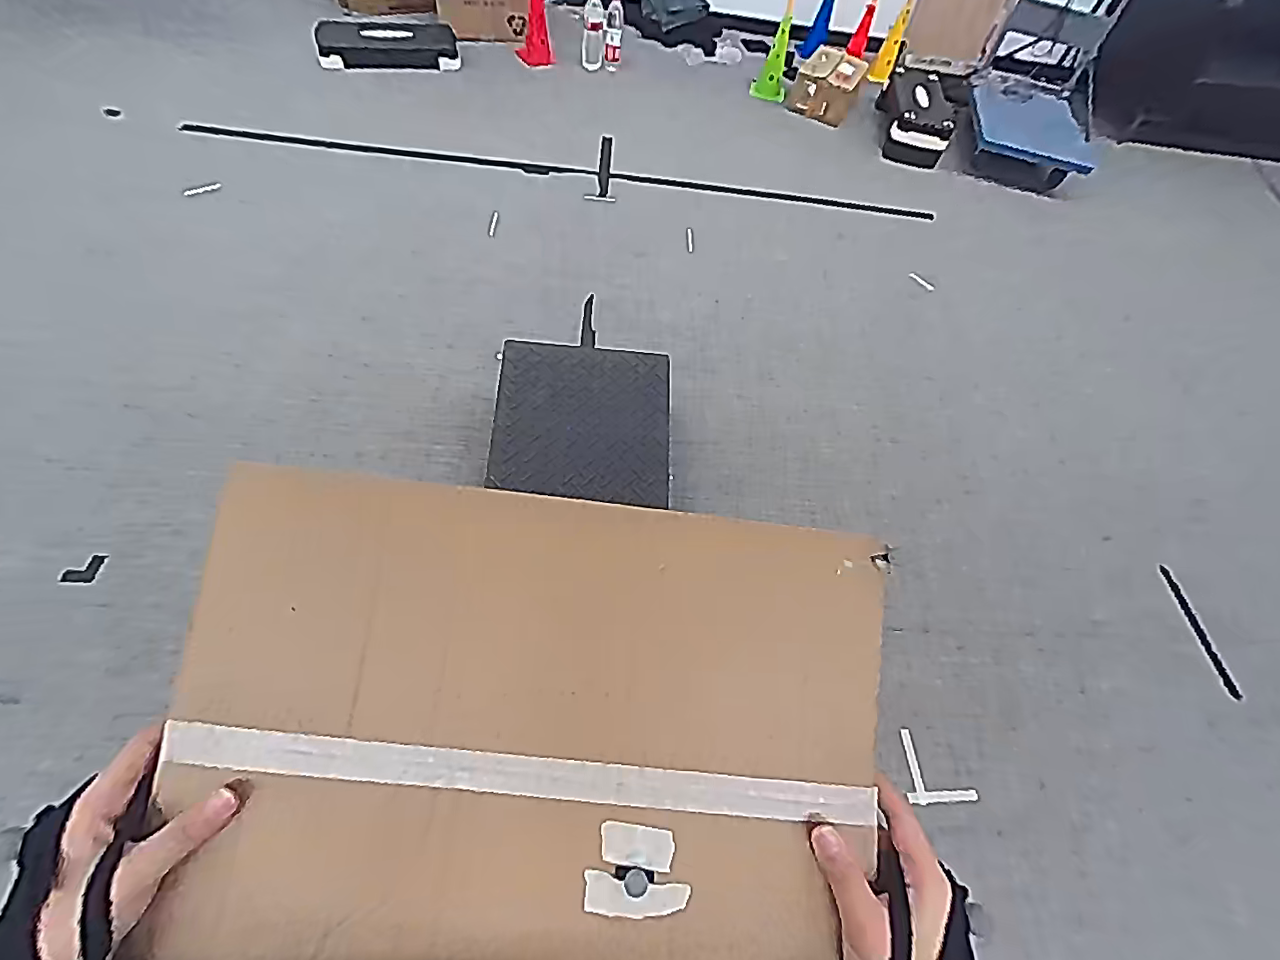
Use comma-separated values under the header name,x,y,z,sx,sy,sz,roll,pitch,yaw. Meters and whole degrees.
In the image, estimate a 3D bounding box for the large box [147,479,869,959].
name,x,y,z,sx,sy,sz,roll,pitch,yaw
large box,-0.072,0.191,0.470,0.408,0.320,0.320,7,82,-3
